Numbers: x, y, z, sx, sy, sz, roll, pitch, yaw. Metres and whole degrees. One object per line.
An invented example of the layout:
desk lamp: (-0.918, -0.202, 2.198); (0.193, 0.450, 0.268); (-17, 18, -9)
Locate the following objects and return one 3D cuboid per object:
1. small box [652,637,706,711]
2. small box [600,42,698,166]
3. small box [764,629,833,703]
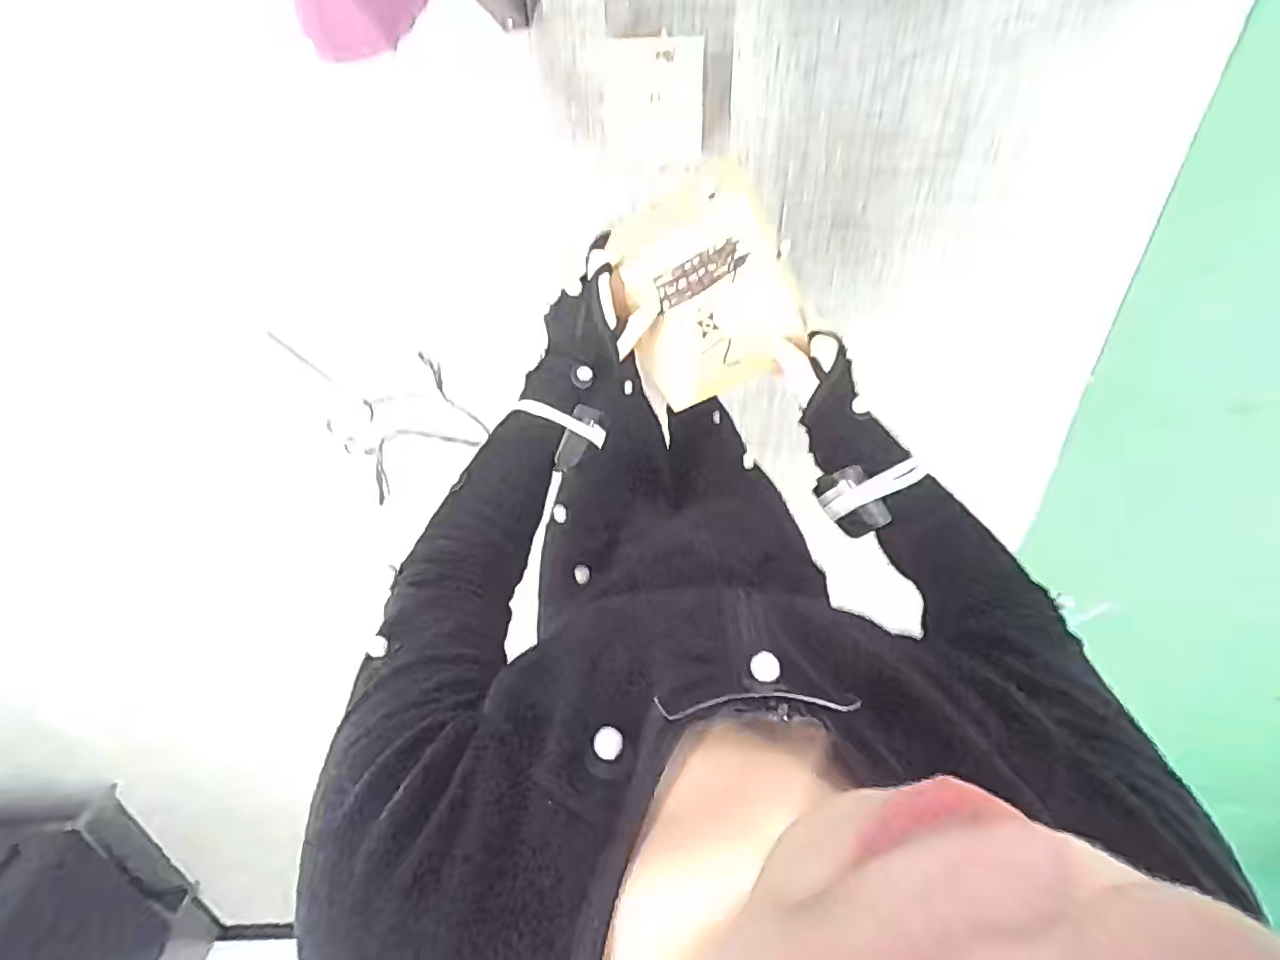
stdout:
small box: (0.124, 0.636, 1.789); (0.168, 0.176, 0.179); (-1, 122, 1)
small box: (0.016, -0.686, 0.998); (0.168, 0.176, 0.179); (0, 122, 1)
small box: (0.512, 0.608, 1.775); (0.179, 0.176, 0.168); (-2, 122, 1)
